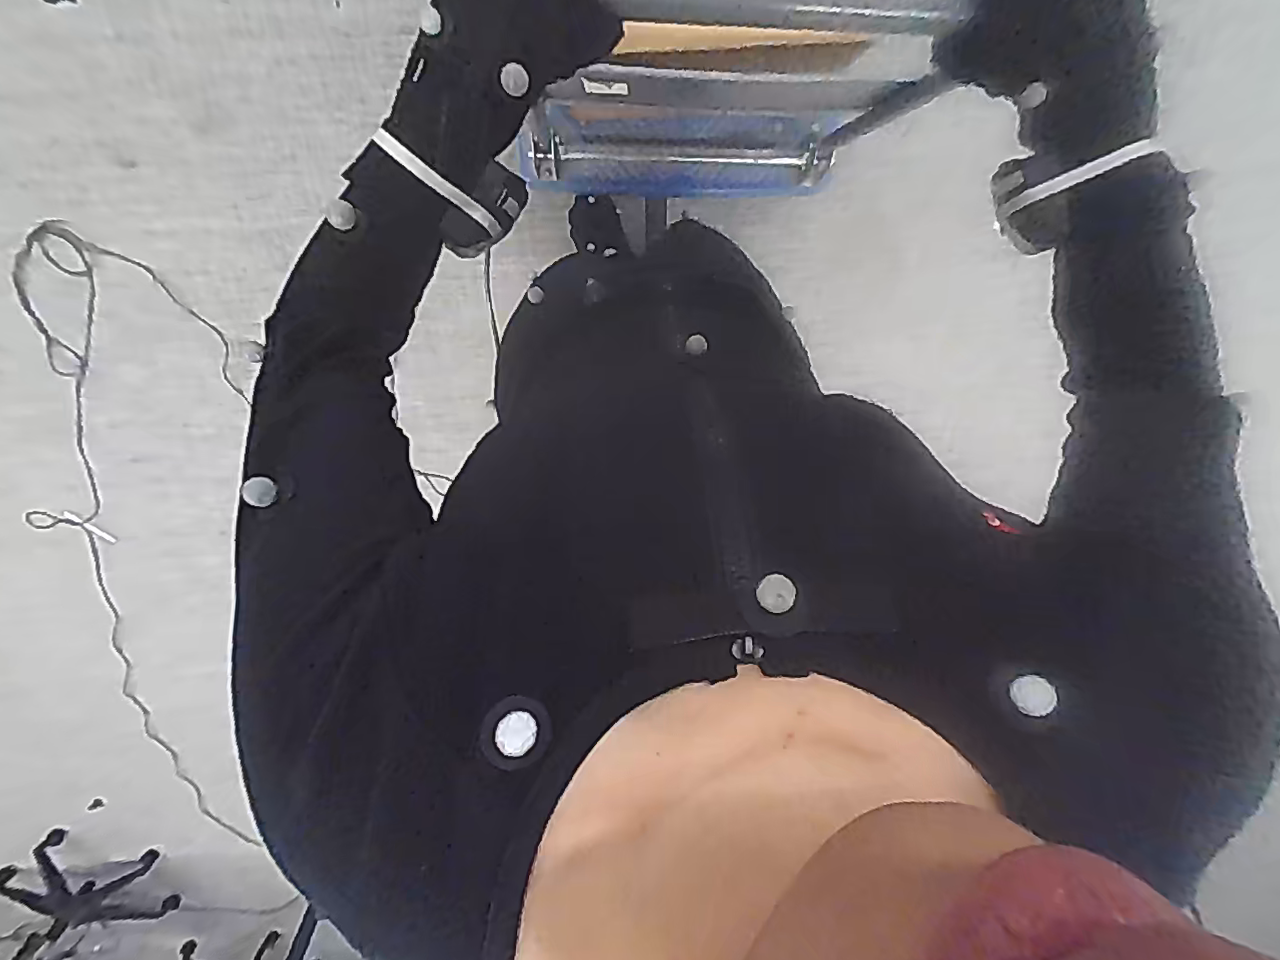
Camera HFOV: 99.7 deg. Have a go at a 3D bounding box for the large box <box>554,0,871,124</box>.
[{"bbox_3d":[0.075,-0.743,0.779,0.408,0.320,0.320,-6,112,-4],"label":"large box"}]
